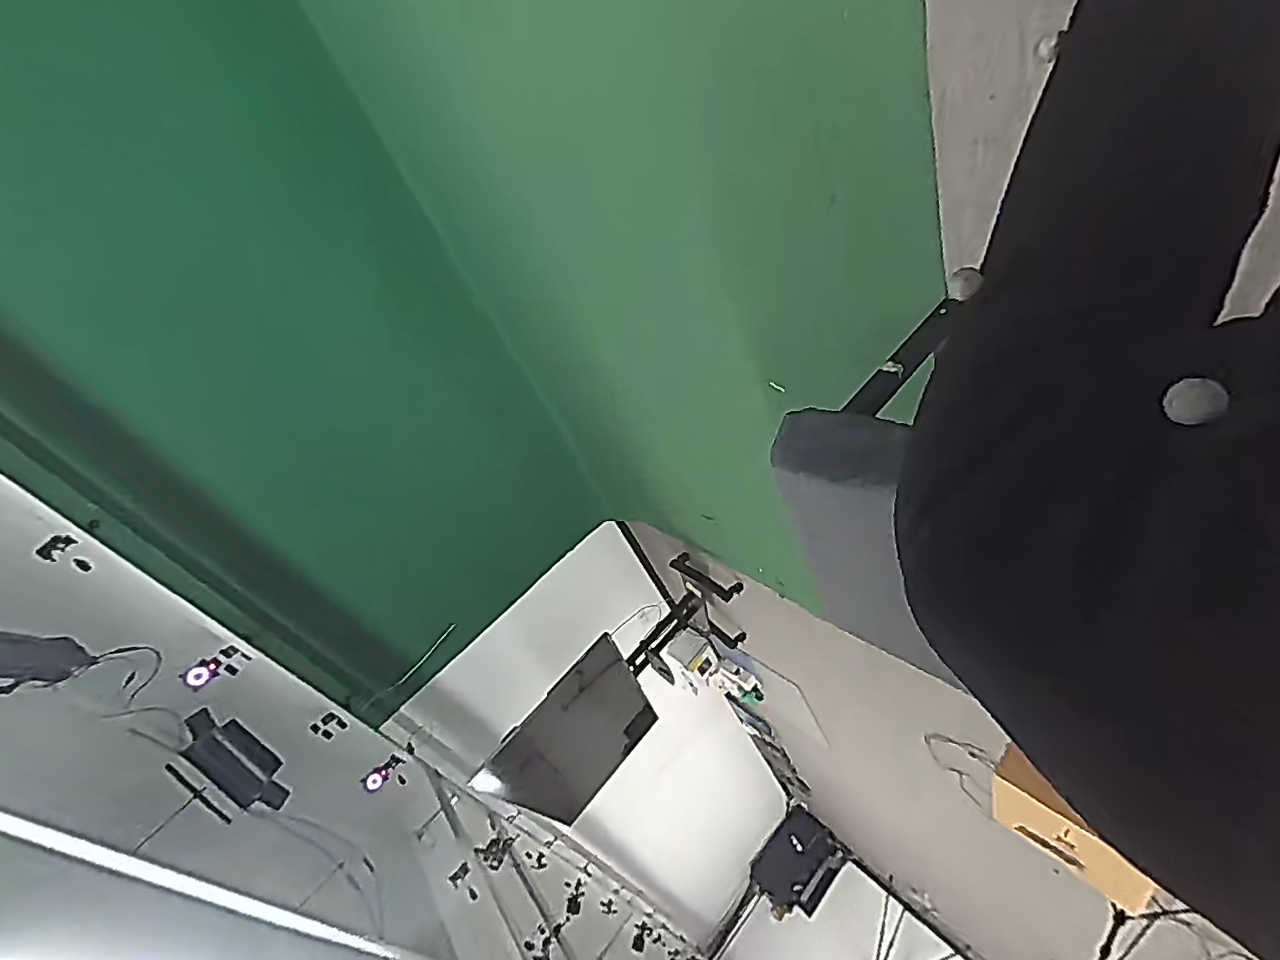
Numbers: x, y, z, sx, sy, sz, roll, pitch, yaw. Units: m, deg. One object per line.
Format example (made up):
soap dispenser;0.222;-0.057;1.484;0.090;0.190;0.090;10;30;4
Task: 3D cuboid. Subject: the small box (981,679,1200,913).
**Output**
small box;0.582;0.402;0.706;0.168;0.176;0.179;24;153;52
